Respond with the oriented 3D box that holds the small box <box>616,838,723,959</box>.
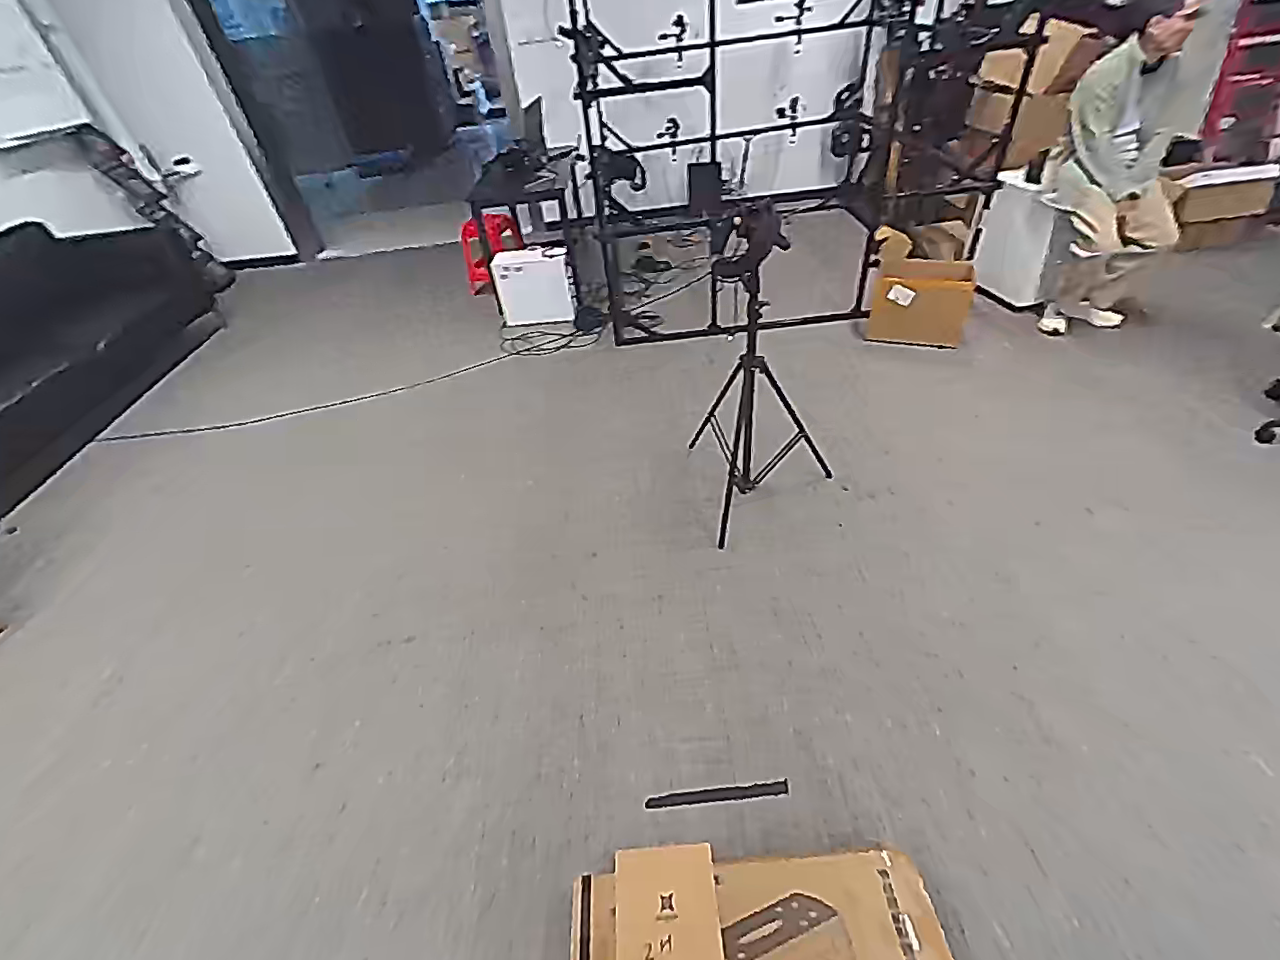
[{"bbox_3d":[0.048,0.741,0.921,0.168,0.176,0.179,-6,41,2],"label":"small box"}]
